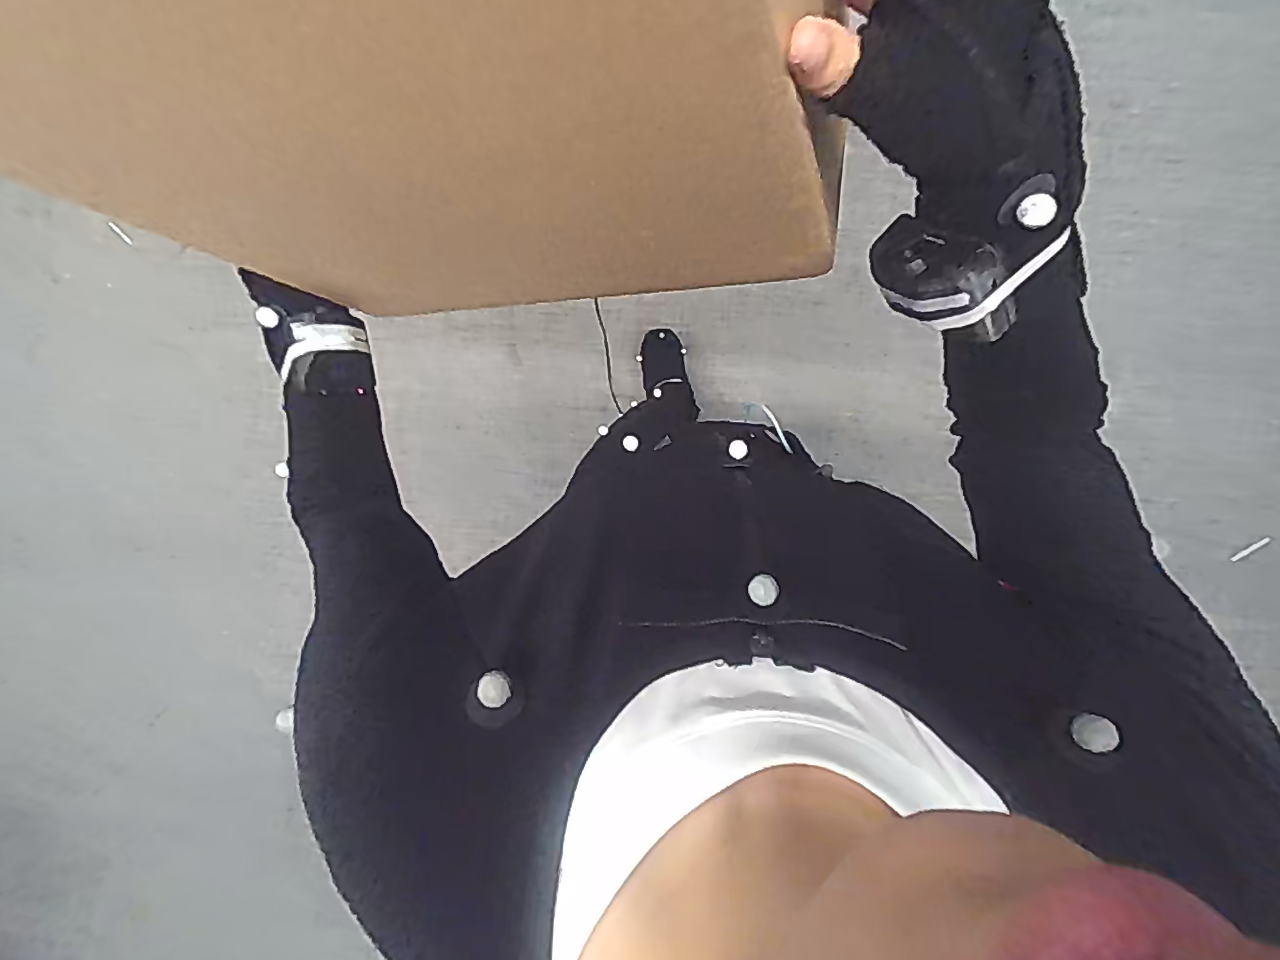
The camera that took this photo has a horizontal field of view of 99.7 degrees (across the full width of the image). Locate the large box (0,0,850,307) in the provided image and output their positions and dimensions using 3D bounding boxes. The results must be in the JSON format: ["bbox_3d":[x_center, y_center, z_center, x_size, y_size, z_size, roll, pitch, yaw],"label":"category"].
[{"bbox_3d":[-0.108,-0.310,0.289,0.408,0.320,0.320,3,88,24],"label":"large box"}]
